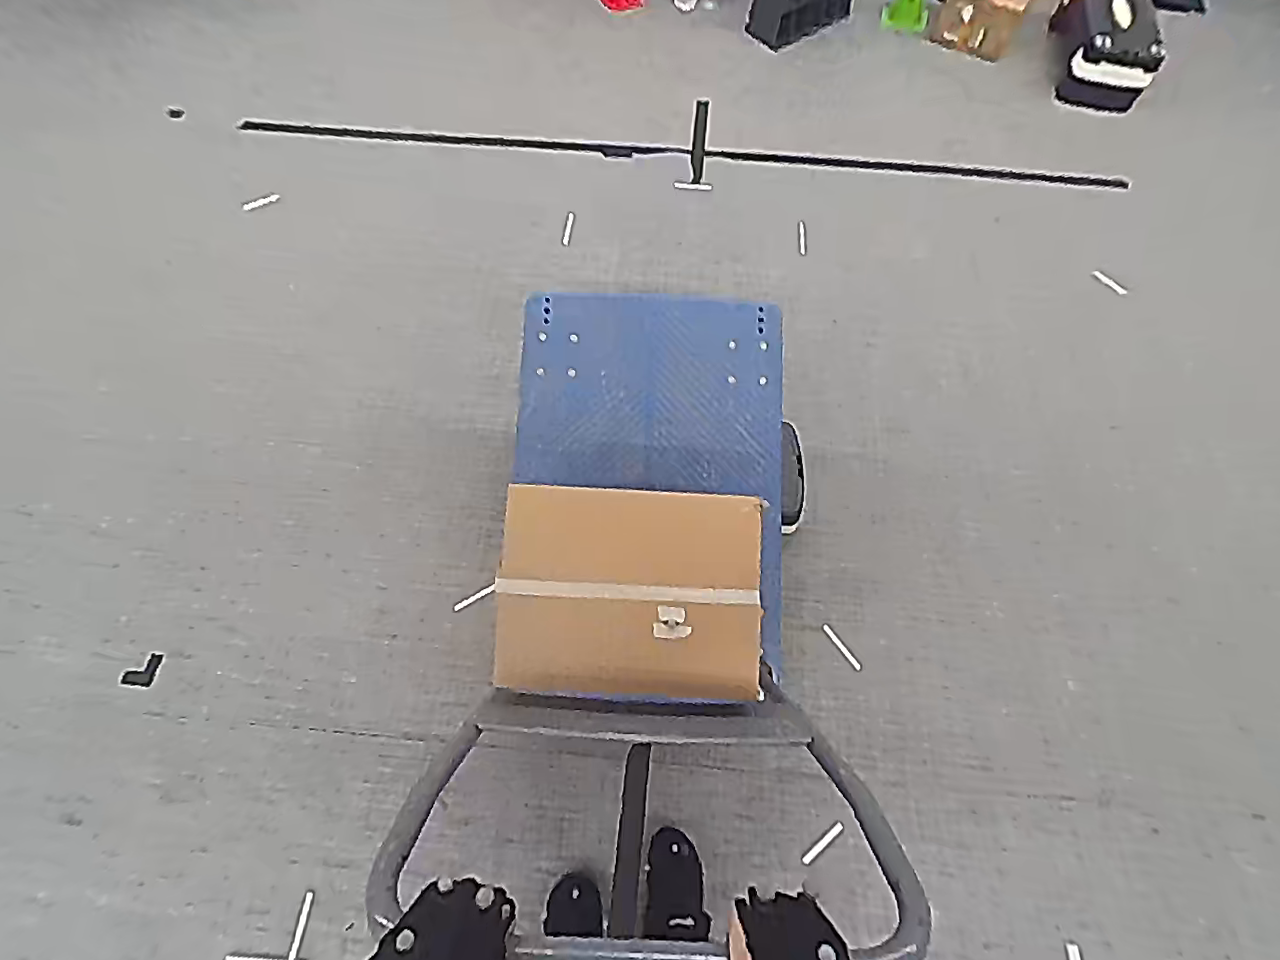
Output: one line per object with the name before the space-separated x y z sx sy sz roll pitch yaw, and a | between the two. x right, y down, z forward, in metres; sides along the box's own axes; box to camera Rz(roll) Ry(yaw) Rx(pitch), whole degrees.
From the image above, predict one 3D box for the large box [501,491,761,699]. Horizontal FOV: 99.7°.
large box | -0.016 0.197 0.987 0.408 0.320 0.320 3 83 -1
